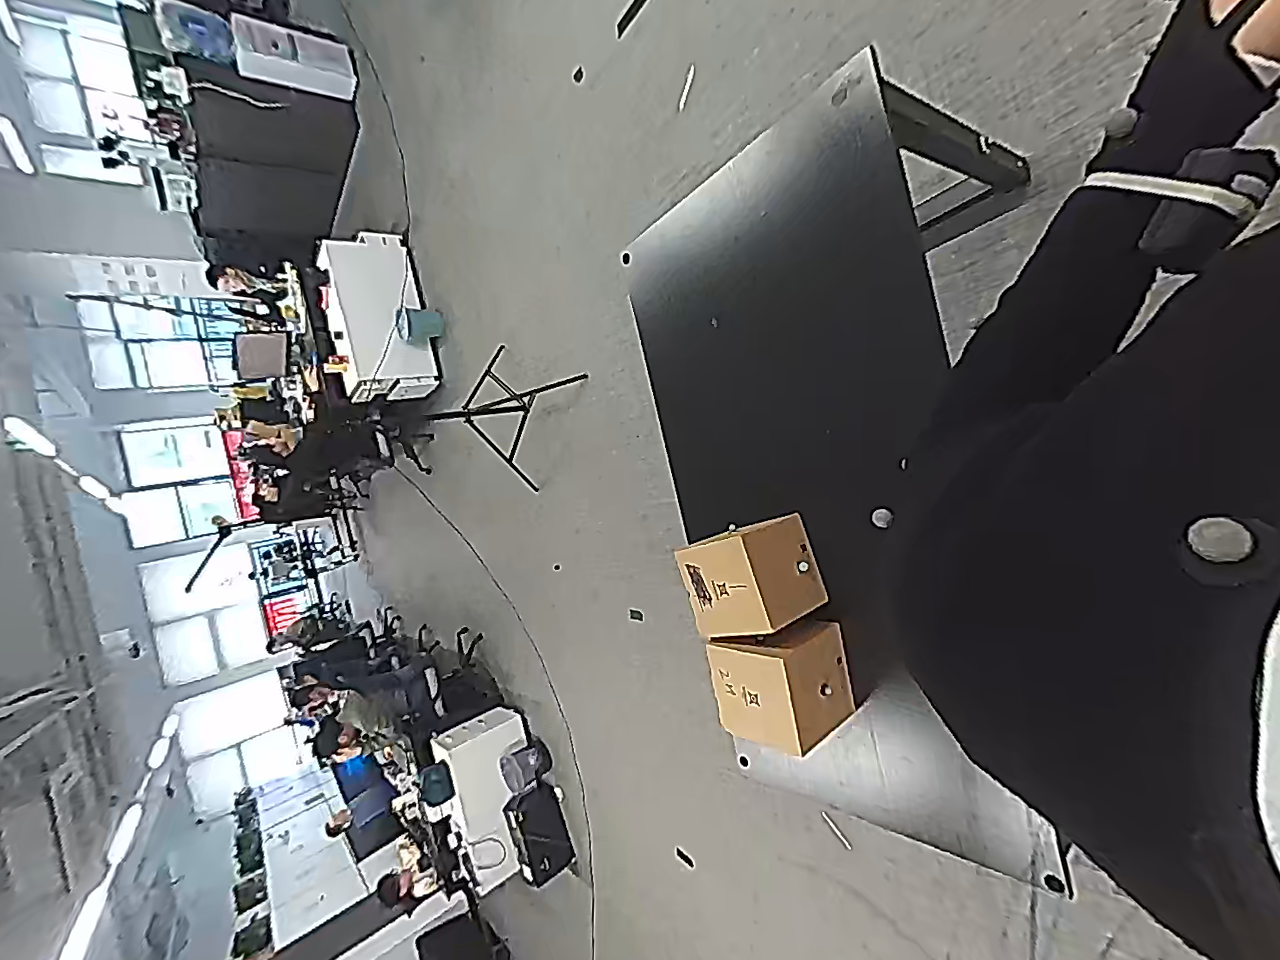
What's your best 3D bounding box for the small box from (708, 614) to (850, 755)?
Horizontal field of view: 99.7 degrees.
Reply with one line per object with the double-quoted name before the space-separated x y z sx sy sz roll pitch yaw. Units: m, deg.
"small box" 0.252 0.348 0.962 0.179 0.176 0.168 -9 92 53
